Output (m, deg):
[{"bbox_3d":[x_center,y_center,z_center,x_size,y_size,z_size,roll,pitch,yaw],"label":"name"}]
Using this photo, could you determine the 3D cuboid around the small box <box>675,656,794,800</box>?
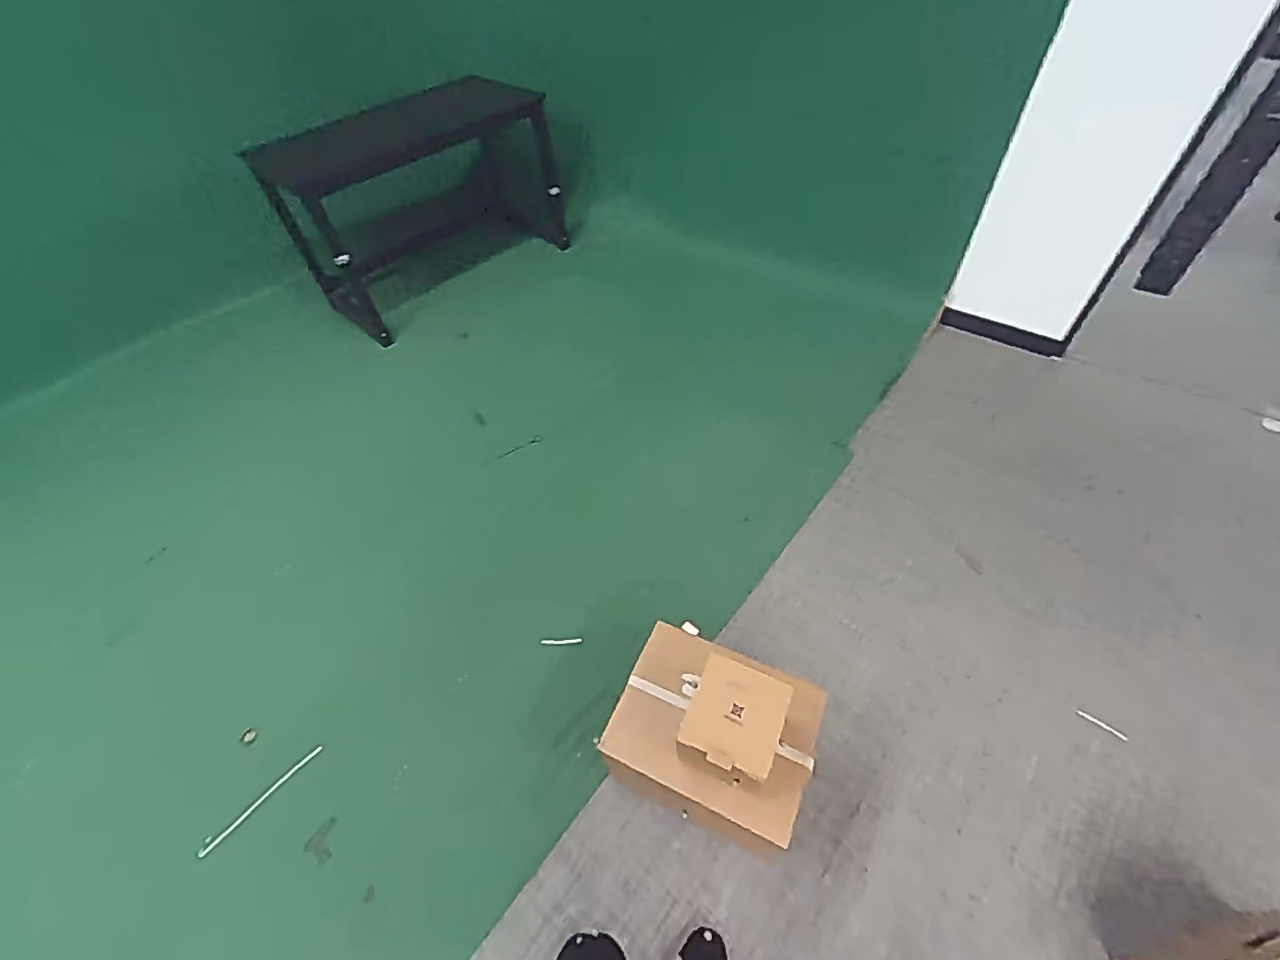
[{"bbox_3d":[0.178,0.472,1.022,0.168,0.176,0.179,19,55,20],"label":"small box"}]

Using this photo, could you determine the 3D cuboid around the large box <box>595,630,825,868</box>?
[{"bbox_3d":[0.164,0.607,1.231,0.408,0.320,0.320,17,53,20],"label":"large box"}]
